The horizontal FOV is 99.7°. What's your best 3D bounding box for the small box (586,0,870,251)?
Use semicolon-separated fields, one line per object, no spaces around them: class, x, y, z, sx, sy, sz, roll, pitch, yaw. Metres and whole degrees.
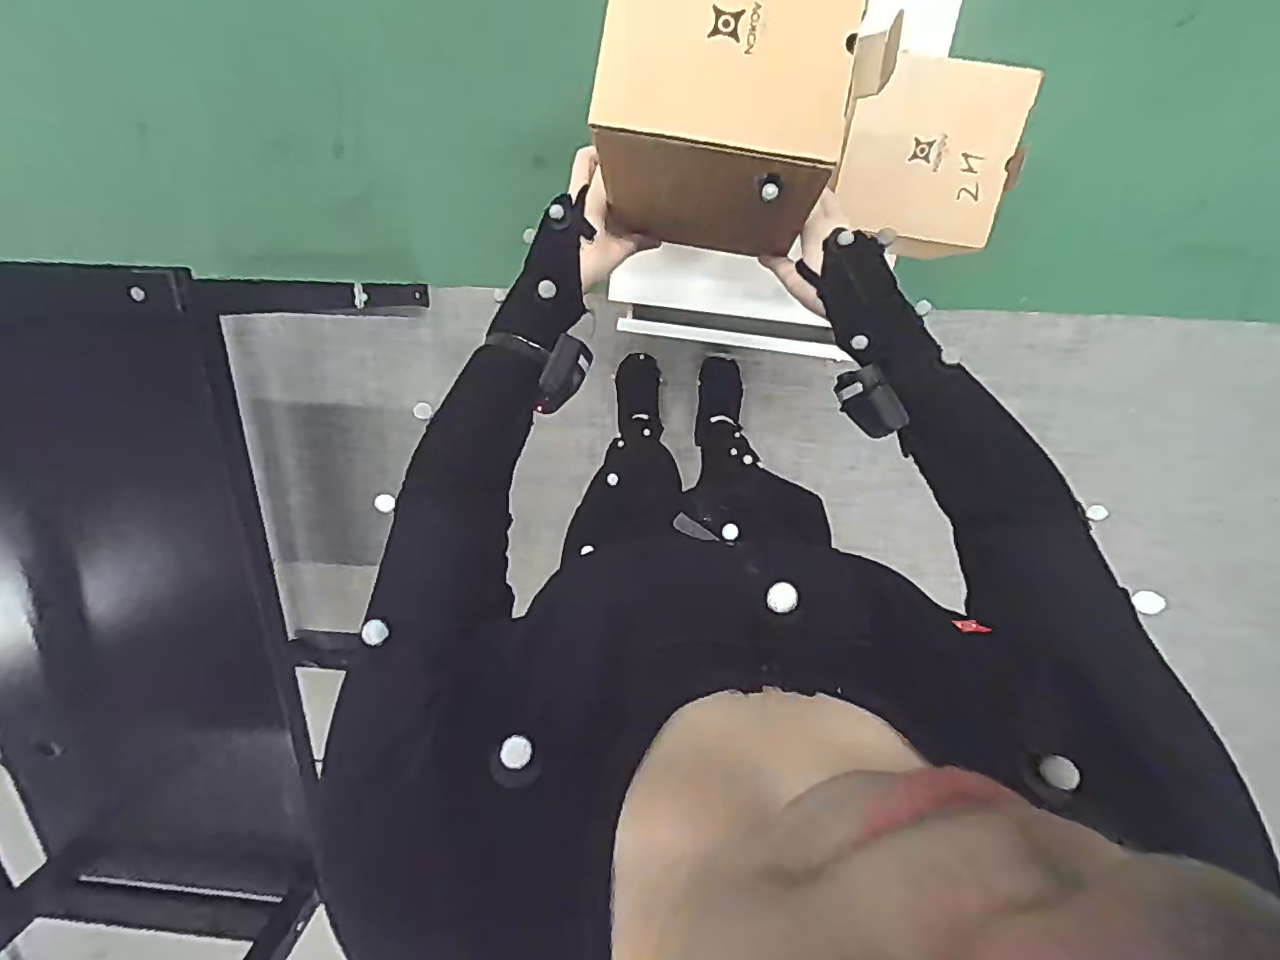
small box;0.065;-0.307;0.437;0.179;0.176;0.168;10;90;2

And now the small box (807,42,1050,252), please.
small box;0.308;-0.366;0.627;0.179;0.176;0.168;10;111;2
